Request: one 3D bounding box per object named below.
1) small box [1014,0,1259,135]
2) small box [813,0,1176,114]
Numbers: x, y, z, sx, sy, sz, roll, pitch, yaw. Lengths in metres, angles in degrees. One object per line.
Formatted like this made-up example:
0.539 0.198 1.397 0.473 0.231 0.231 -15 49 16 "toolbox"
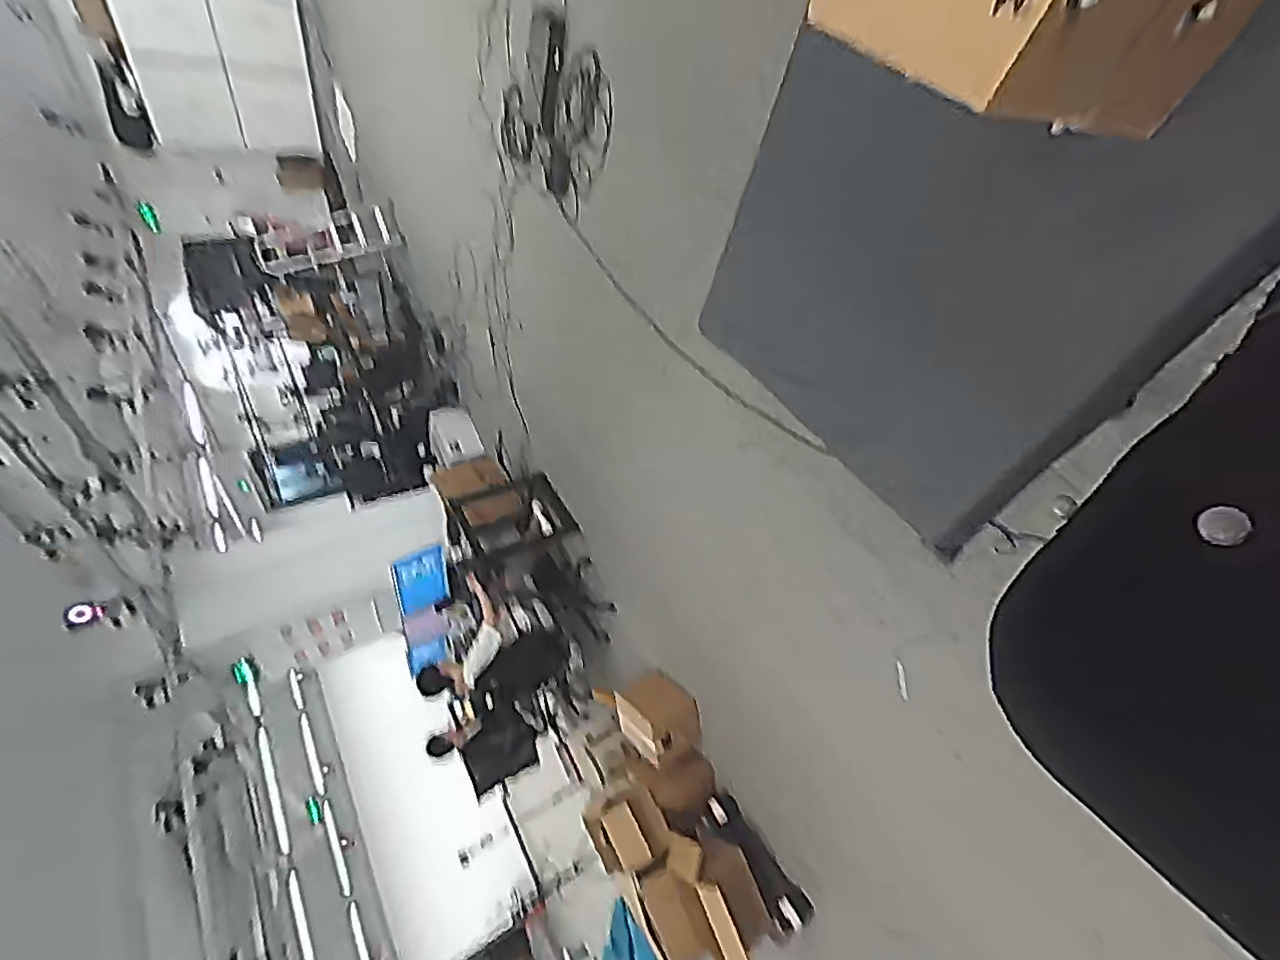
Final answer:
0.400 -0.419 0.458 0.168 0.176 0.179 53 144 28 "small box"
0.267 -0.379 0.376 0.179 0.176 0.168 52 143 29 "small box"
